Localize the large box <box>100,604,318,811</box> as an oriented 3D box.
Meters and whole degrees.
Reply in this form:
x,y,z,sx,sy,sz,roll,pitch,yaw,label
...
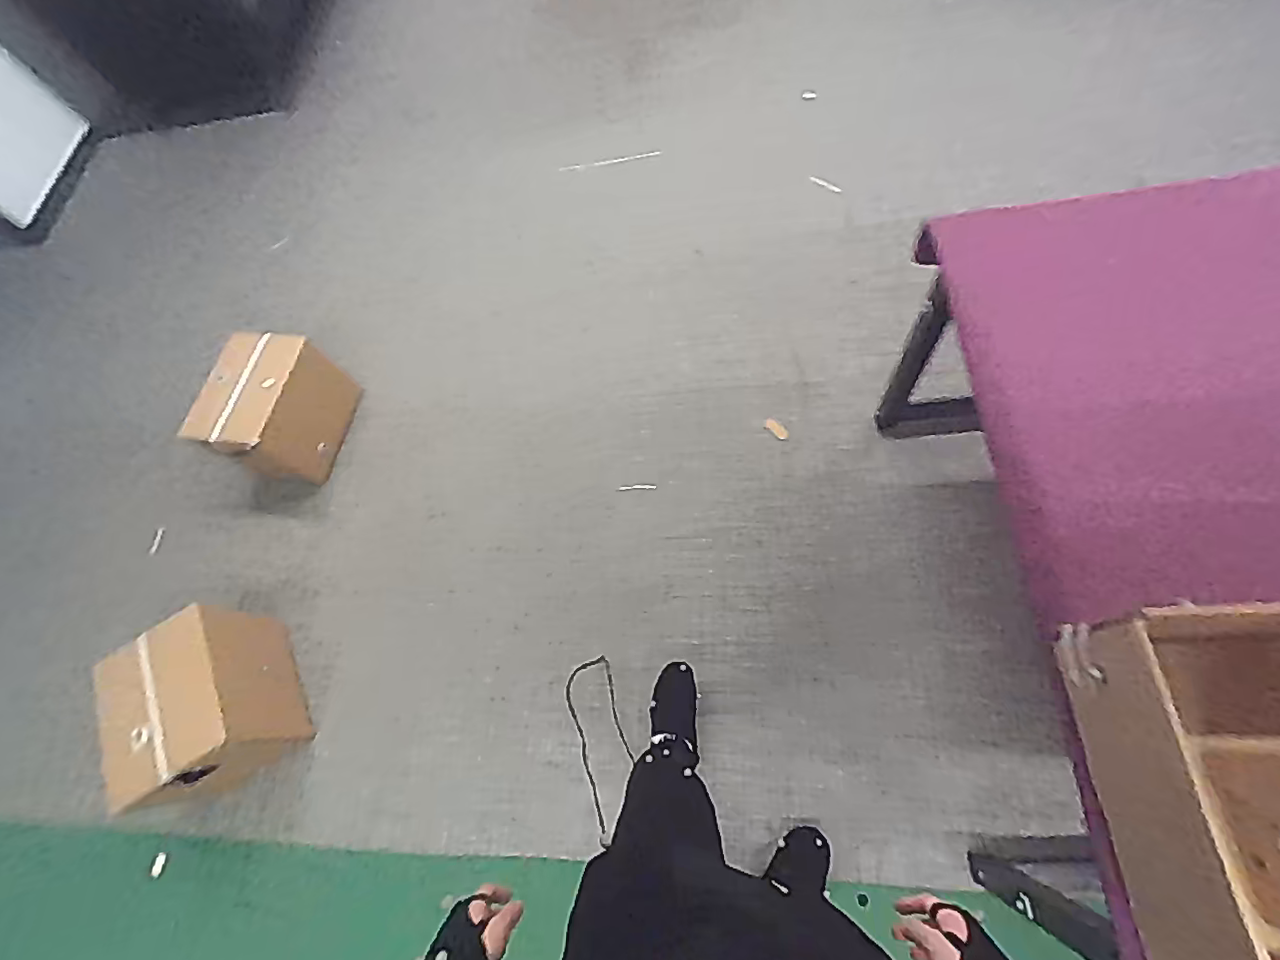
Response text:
x,y,z,sx,sy,sz,roll,pitch,yaw,label
-1.188,0.617,1.511,0.320,0.320,0.408,-33,66,-4,large box
